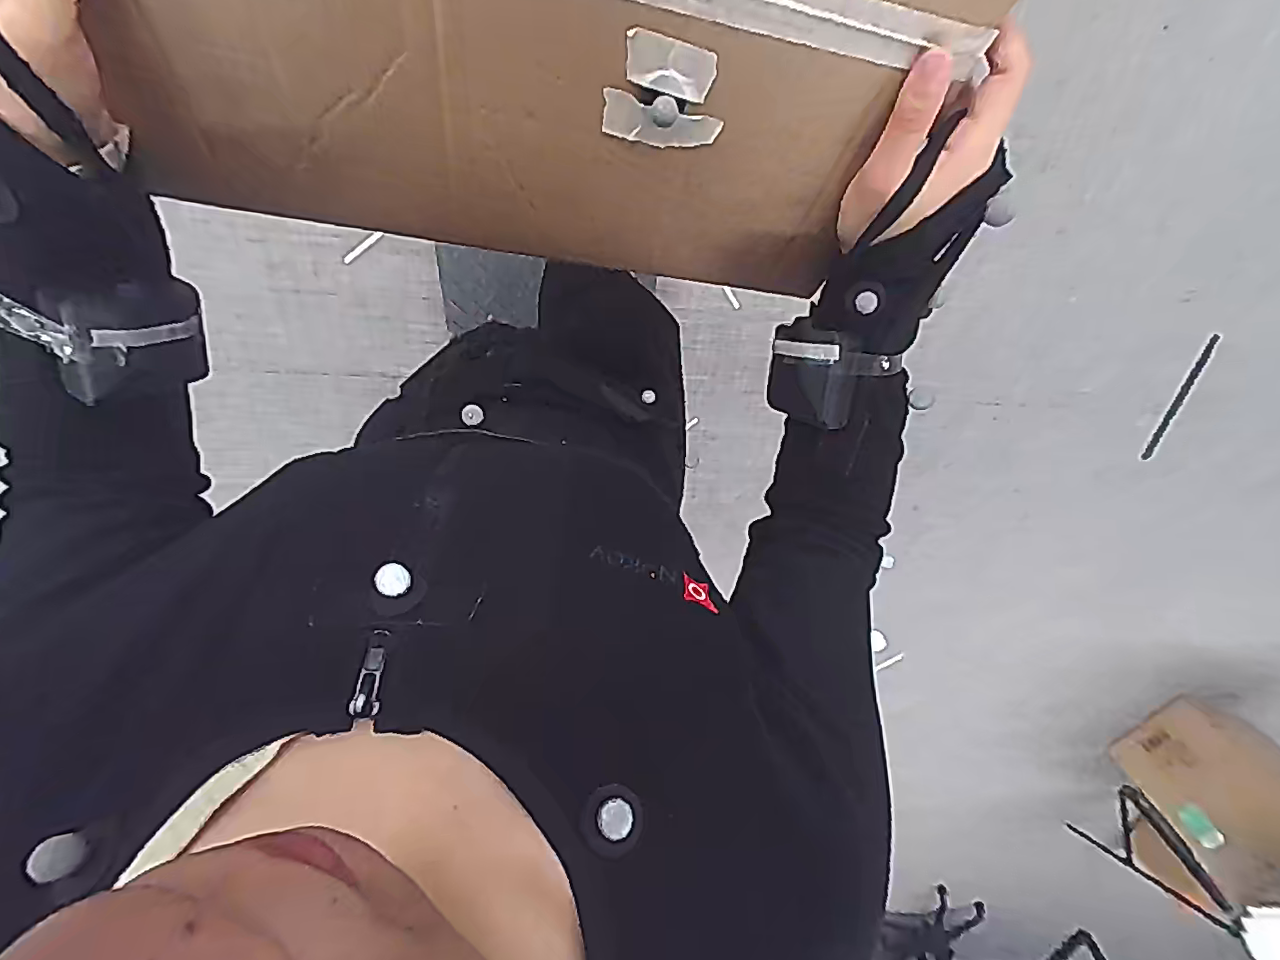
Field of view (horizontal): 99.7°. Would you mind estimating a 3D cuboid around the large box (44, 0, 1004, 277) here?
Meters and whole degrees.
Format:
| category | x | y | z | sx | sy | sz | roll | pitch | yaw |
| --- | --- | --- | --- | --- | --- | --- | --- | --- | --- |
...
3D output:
| category | x | y | z | sx | sy | sz | roll | pitch | yaw |
| --- | --- | --- | --- | --- | --- | --- | --- | --- | --- |
| large box | -0.047 | -0.349 | 0.271 | 0.408 | 0.320 | 0.320 | 3 | 157 | -12 |
